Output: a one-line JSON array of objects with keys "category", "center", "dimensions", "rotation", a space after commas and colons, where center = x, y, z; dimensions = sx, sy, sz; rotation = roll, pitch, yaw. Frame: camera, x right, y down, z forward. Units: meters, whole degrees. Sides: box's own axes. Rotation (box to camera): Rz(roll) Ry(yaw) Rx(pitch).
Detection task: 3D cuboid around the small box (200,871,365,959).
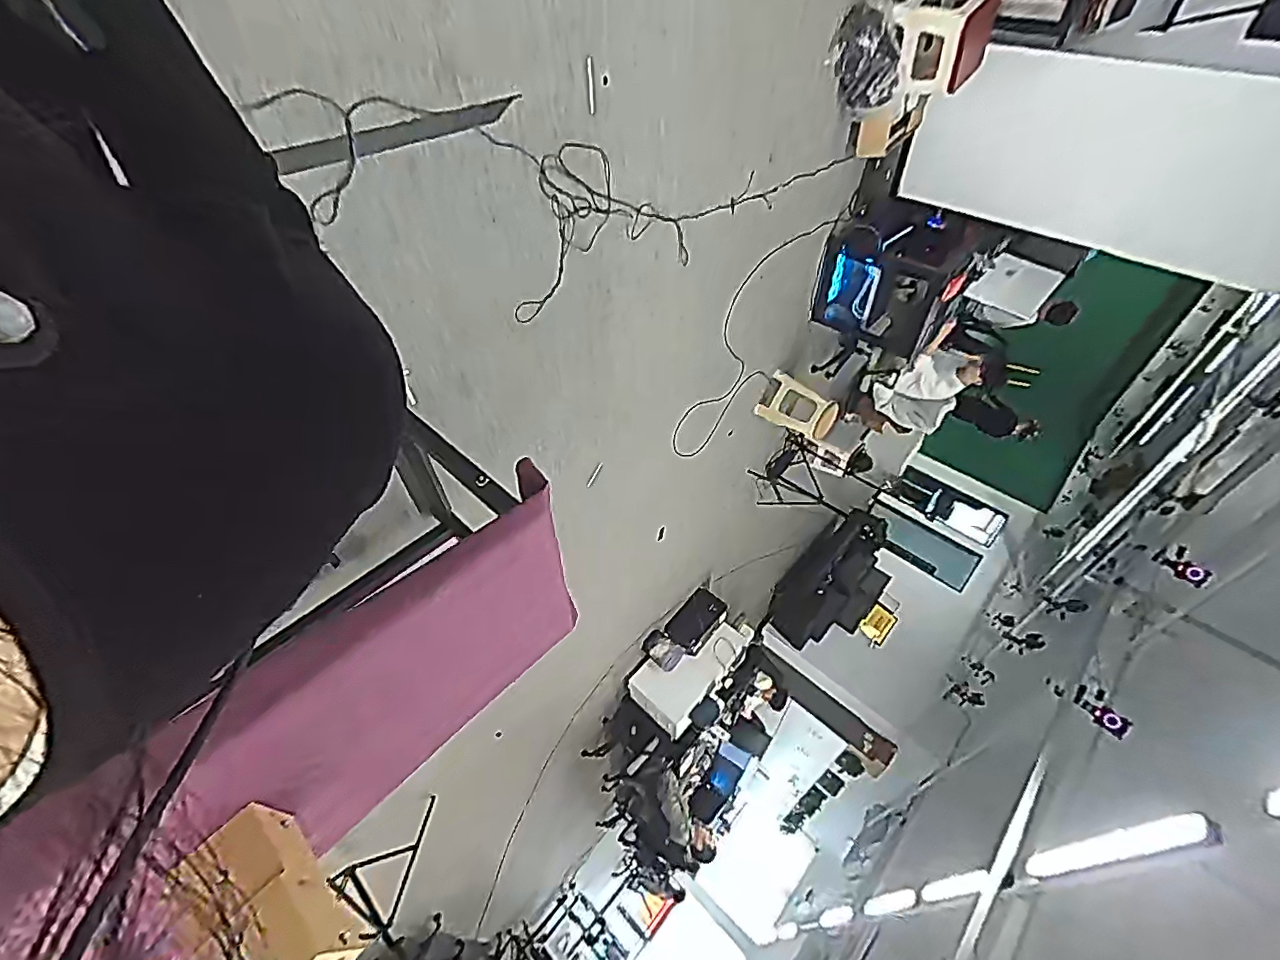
[{"category": "small box", "center": [-0.645, 0.854, 0.972], "dimensions": [0.179, 0.176, 0.168], "rotation": [-42, 149, -25]}]
